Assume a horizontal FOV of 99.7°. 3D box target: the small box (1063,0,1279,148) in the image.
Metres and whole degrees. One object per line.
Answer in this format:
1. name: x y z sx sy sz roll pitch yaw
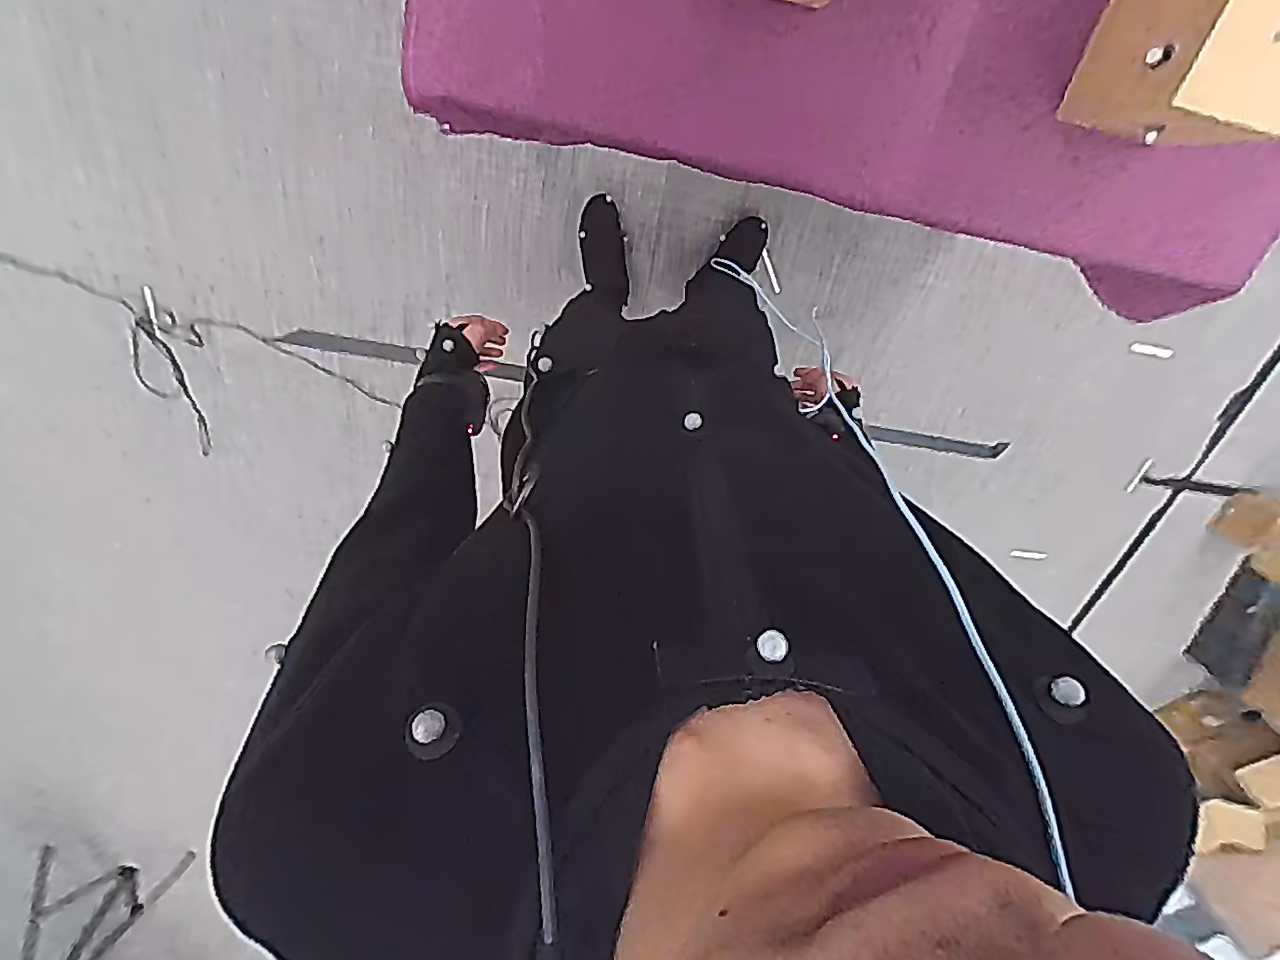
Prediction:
1. small box: 0.642 -0.496 0.617 0.168 0.176 0.179 8 119 -10

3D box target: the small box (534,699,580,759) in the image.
1. small box: -0.346 1.044 2.268 0.179 0.176 0.168 6 119 -8
